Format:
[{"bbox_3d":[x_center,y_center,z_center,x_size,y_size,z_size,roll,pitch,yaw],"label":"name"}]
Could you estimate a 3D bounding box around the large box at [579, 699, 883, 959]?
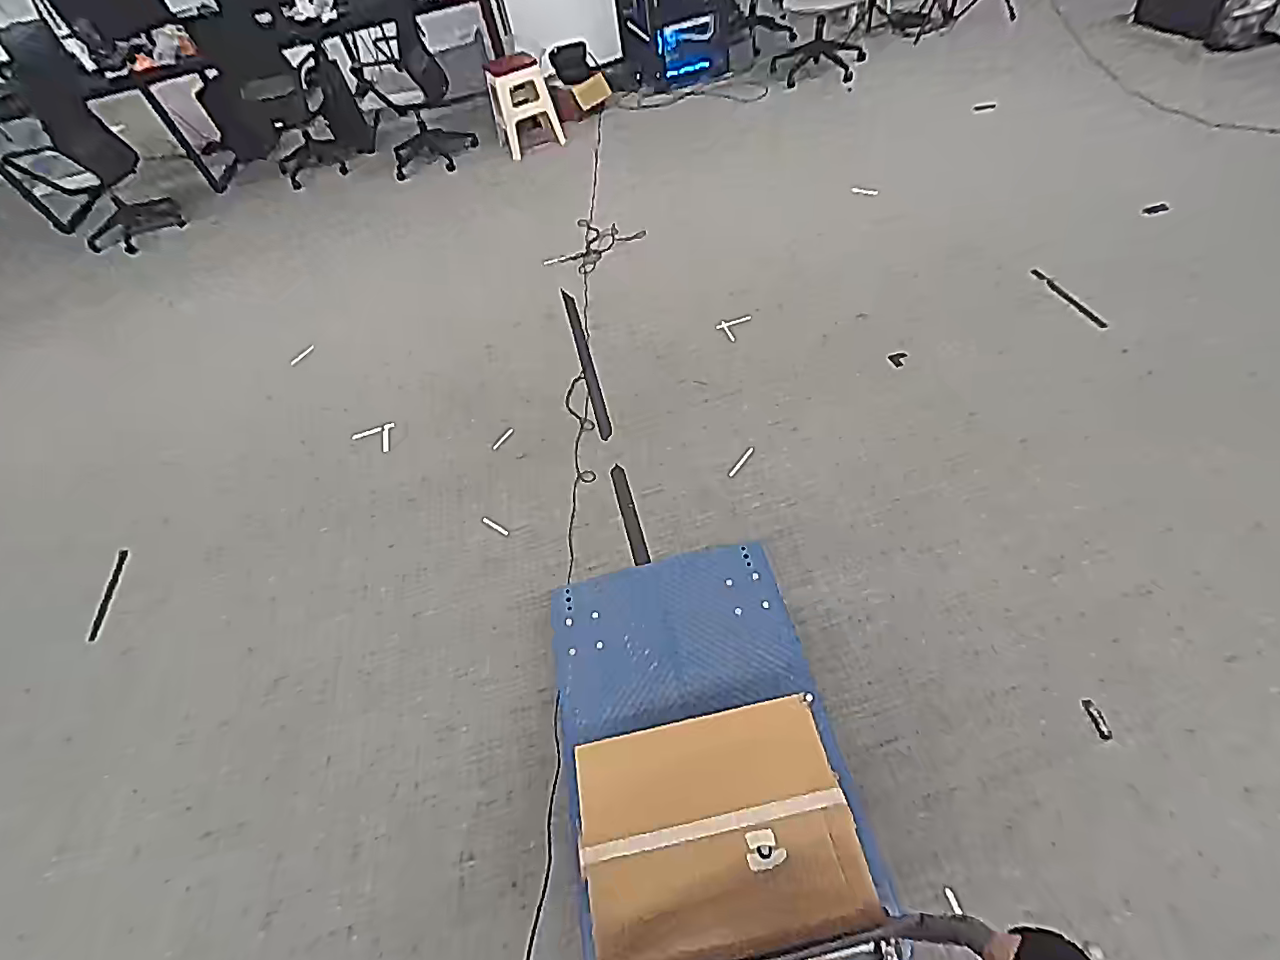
[{"bbox_3d":[0.135,0.628,0.945,0.408,0.320,0.320,-13,52,0],"label":"large box"}]
